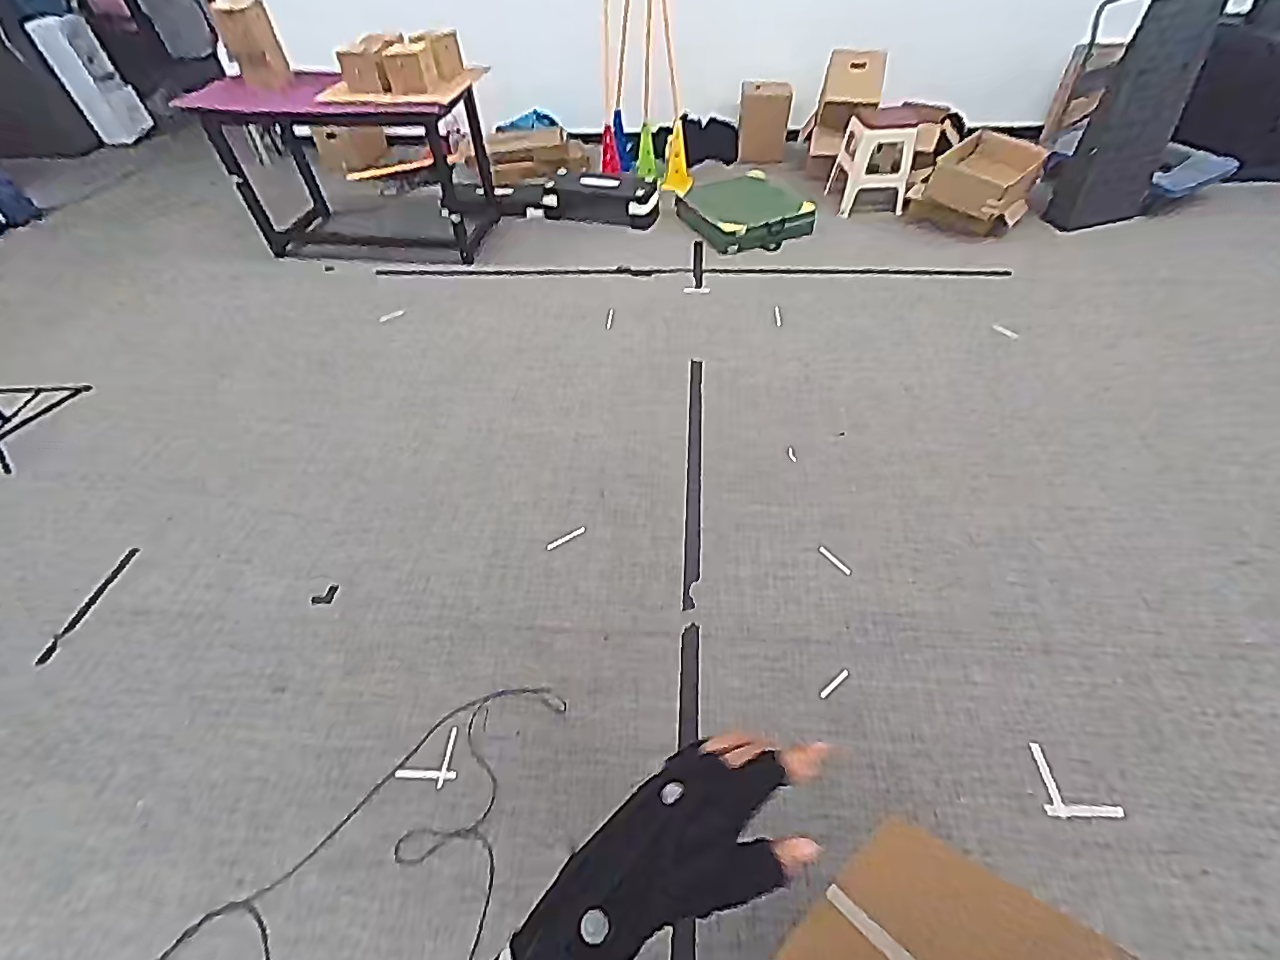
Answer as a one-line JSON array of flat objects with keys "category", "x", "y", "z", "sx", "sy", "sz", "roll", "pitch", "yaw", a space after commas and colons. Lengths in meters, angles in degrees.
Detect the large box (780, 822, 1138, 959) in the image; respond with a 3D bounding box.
[{"category": "large box", "x": 0.441, "y": 0.726, "z": 0.660, "sx": 0.320, "sy": 0.408, "sz": 0.320, "roll": -39, "pitch": 86, "yaw": -16}]
